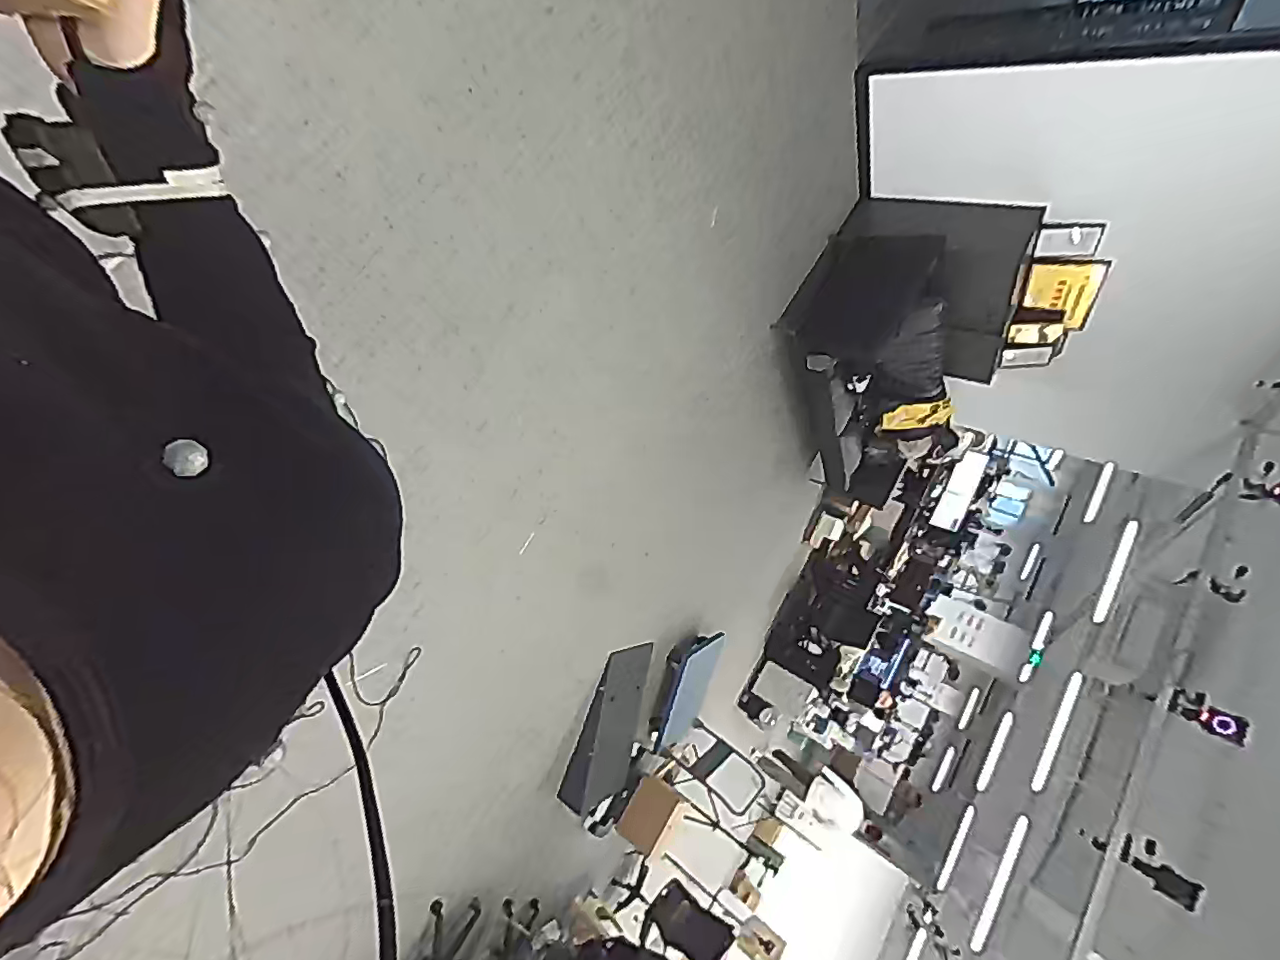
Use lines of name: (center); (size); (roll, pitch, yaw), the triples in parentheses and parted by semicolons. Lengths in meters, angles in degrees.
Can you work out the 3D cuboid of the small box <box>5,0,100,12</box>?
small box: (-0.312, -0.303, 0.171); (0.168, 0.176, 0.179); (-12, 124, -61)
